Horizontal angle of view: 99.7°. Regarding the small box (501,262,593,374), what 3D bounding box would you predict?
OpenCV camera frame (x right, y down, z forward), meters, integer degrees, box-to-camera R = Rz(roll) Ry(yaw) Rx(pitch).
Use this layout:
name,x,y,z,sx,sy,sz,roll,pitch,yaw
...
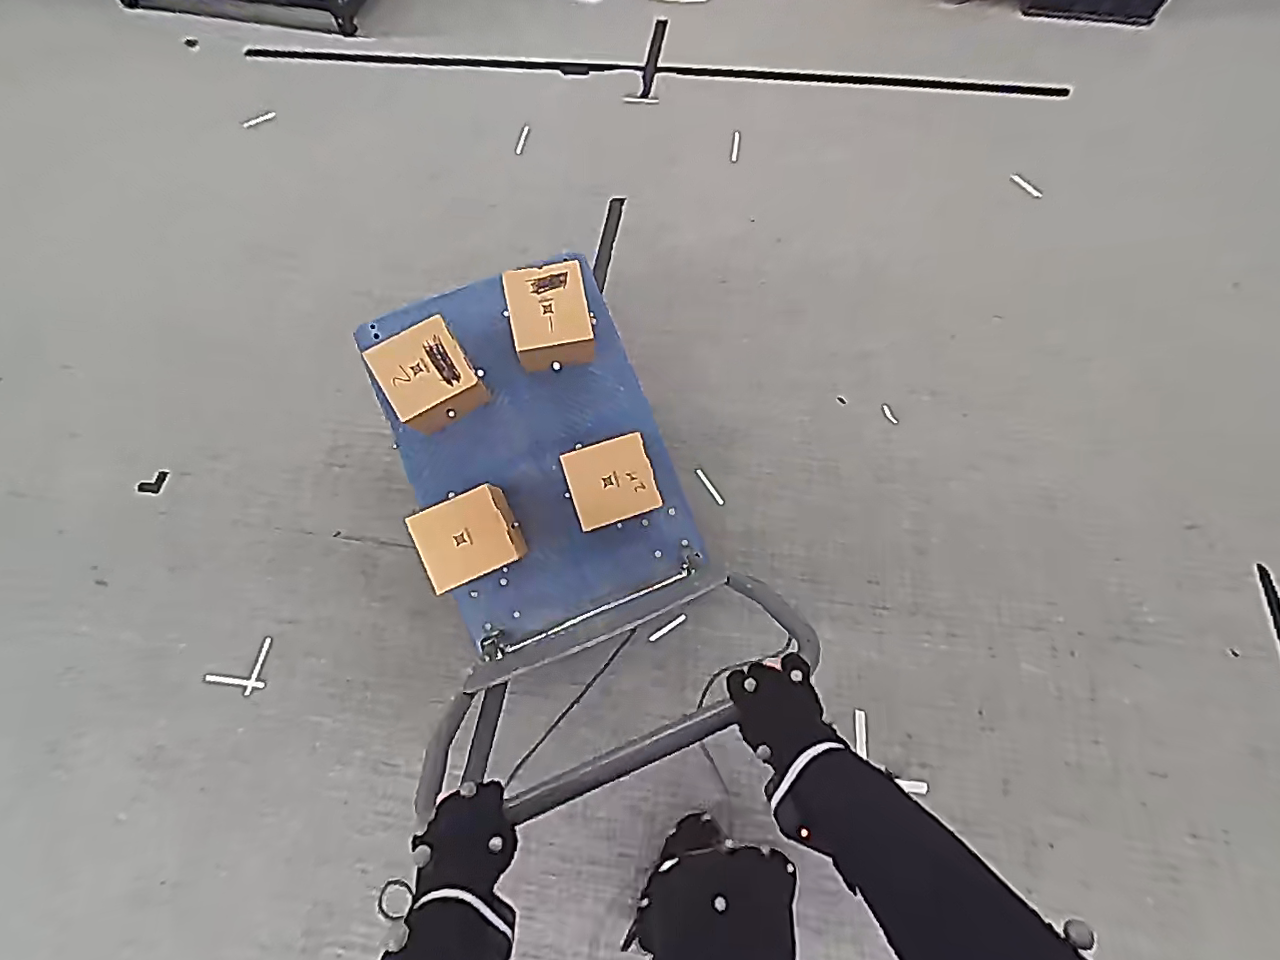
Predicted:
name,x,y,z,sx,sy,sz,roll,pitch,yaw
small box,-0.204,-0.355,1.206,0.168,0.176,0.179,-12,87,-6

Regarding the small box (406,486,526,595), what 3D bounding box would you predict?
name,x,y,z,sx,sy,sz,roll,pitch,yaw
small box,-0.359,0.128,1.147,0.179,0.176,0.168,-25,87,-9

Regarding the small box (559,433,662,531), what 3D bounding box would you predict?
name,x,y,z,sx,sy,sz,roll,pitch,yaw
small box,-0.066,0.011,1.185,0.179,0.176,0.168,-18,87,-7
